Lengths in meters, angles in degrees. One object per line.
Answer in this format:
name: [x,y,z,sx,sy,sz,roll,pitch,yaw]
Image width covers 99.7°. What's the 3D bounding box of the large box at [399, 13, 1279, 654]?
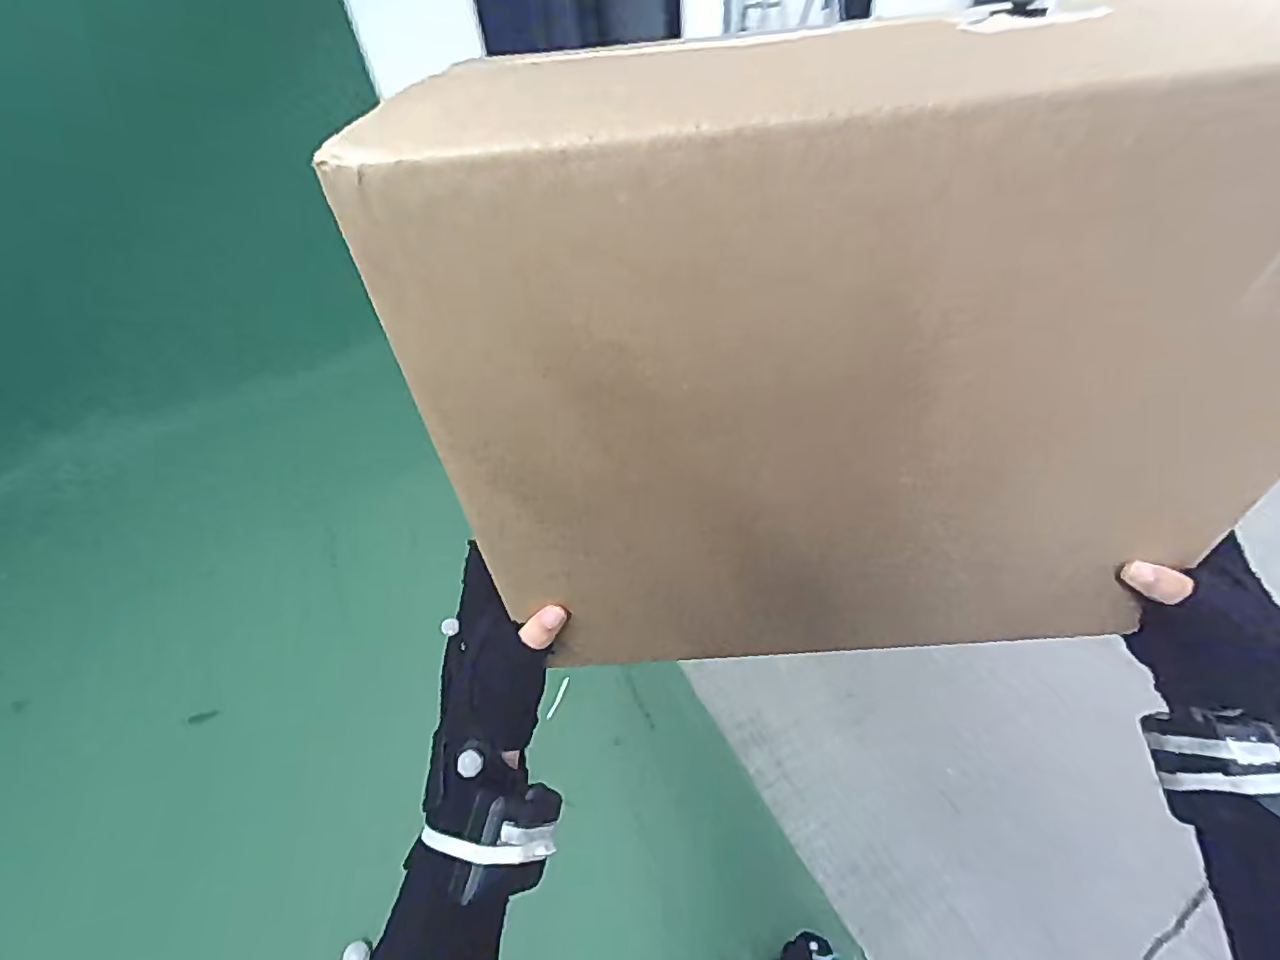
large box: [0.121,-0.102,0.379,0.408,0.320,0.320,-3,43,1]
